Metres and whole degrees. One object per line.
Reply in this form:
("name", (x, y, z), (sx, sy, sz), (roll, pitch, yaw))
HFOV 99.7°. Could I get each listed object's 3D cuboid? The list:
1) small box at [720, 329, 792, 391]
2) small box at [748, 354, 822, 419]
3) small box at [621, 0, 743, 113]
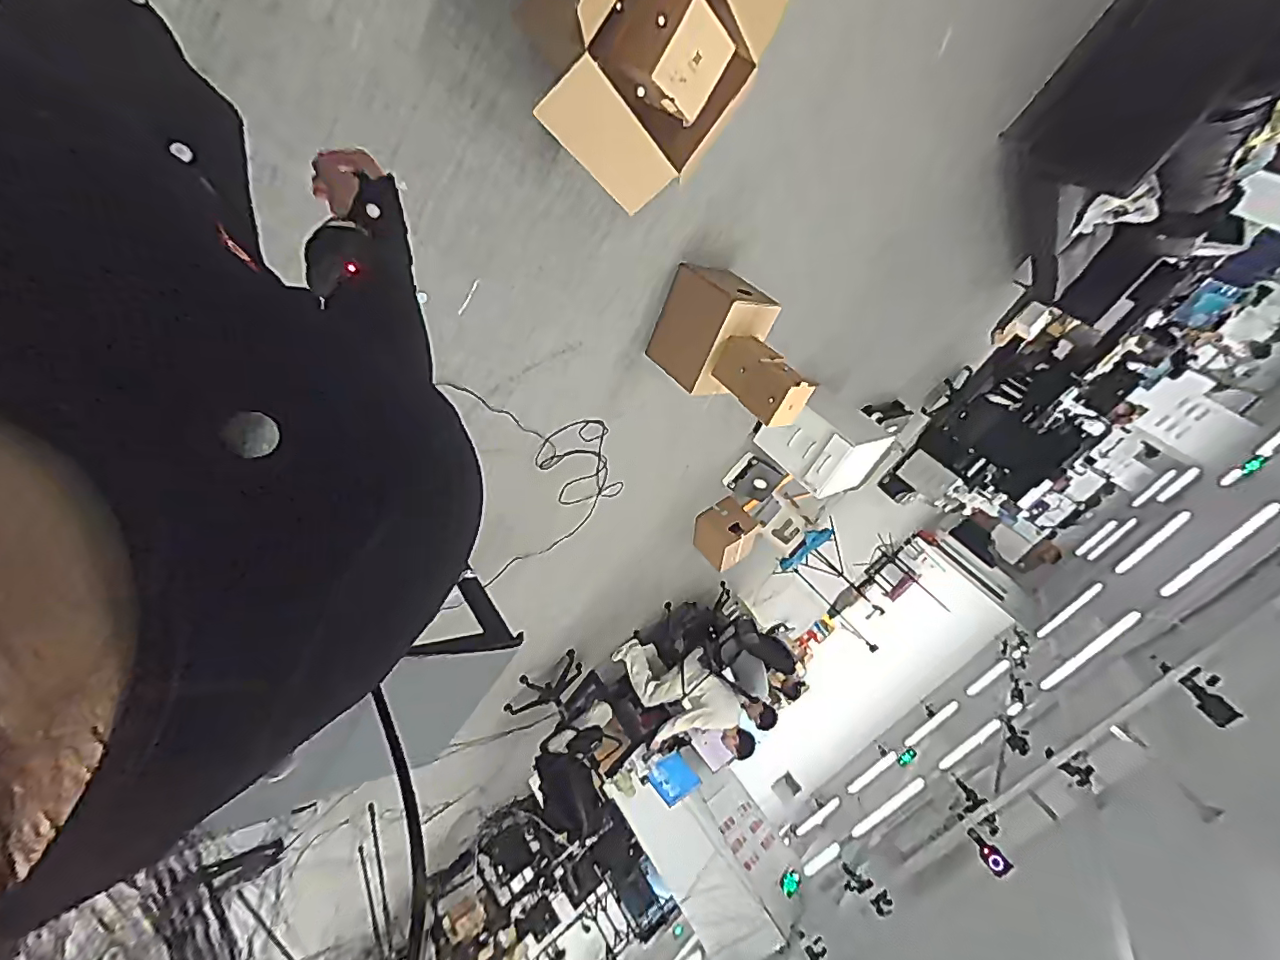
("small box", (0.439, -0.462, 2.074), (0.168, 0.176, 0.179), (-11, 139, -41))
("small box", (0.527, -0.346, 2.000), (0.168, 0.176, 0.179), (-10, 138, -41))
("small box", (0.088, -0.976, 1.204), (0.168, 0.176, 0.179), (8, 124, -51))
